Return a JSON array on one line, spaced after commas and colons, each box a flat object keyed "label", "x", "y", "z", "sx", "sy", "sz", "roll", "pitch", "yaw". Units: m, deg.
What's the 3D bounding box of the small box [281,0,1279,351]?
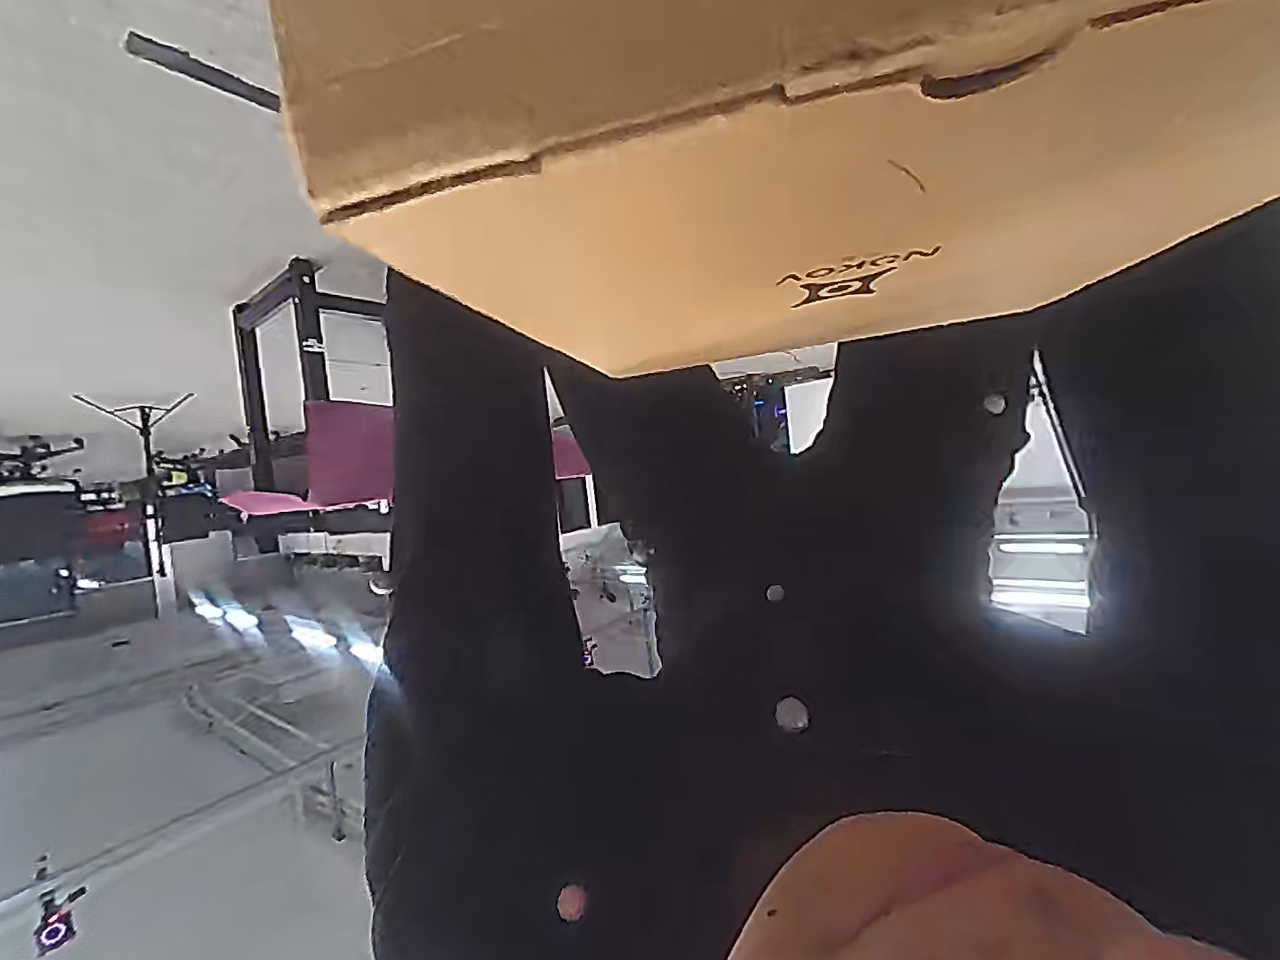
[{"label": "small box", "x": 0.042, "y": -0.138, "z": 0.128, "sx": 0.168, "sy": 0.176, "sz": 0.179, "roll": -7, "pitch": -178, "yaw": 10}]
